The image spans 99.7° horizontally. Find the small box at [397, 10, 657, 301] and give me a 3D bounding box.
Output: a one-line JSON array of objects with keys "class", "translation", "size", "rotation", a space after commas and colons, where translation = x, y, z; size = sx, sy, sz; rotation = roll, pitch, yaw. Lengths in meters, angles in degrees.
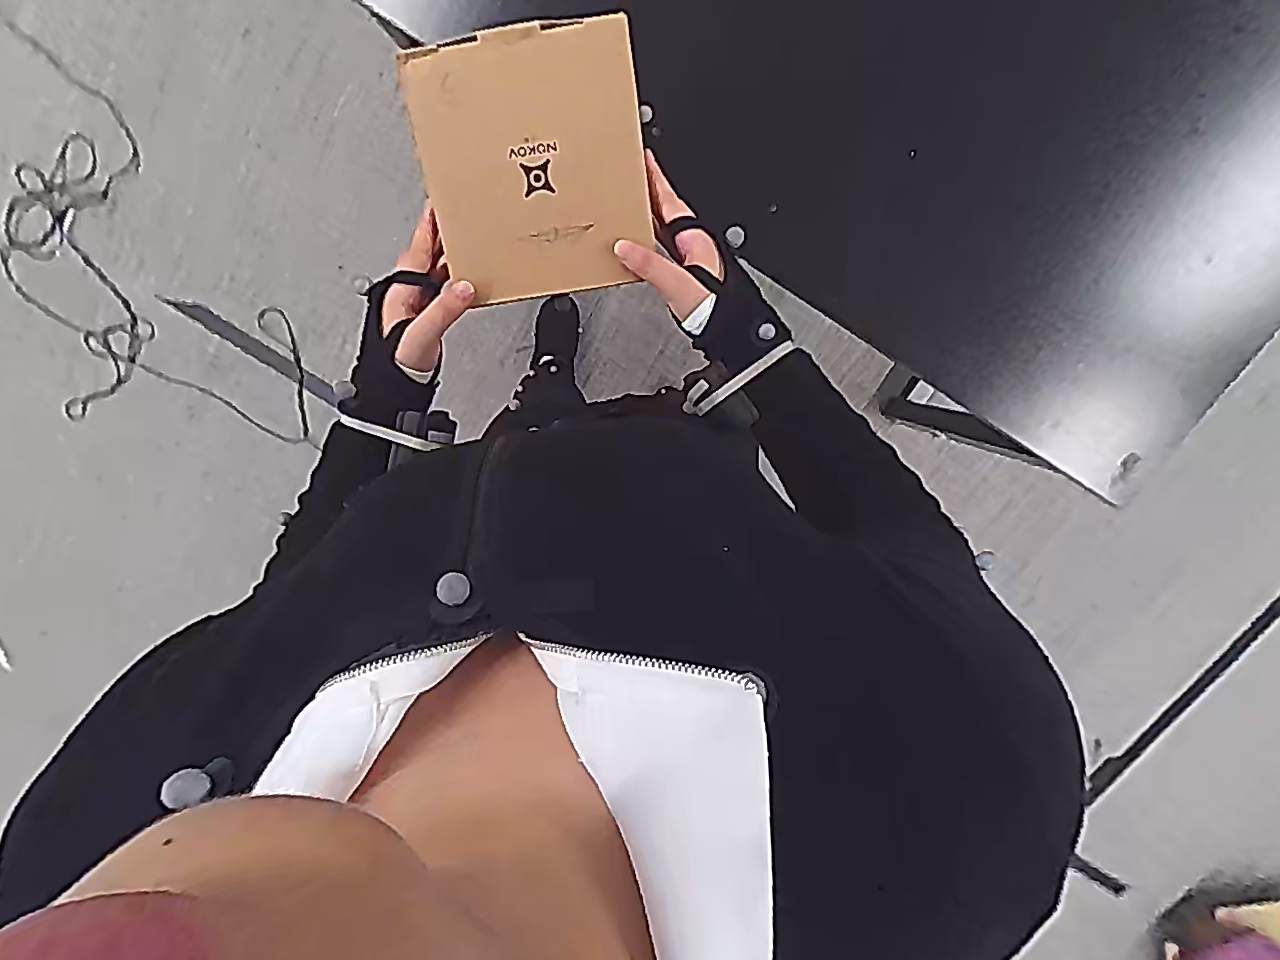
[{"class": "small box", "translation": [-0.080, -0.257, 0.471], "size": [0.168, 0.176, 0.179], "rotation": [-7, 110, 1]}]
